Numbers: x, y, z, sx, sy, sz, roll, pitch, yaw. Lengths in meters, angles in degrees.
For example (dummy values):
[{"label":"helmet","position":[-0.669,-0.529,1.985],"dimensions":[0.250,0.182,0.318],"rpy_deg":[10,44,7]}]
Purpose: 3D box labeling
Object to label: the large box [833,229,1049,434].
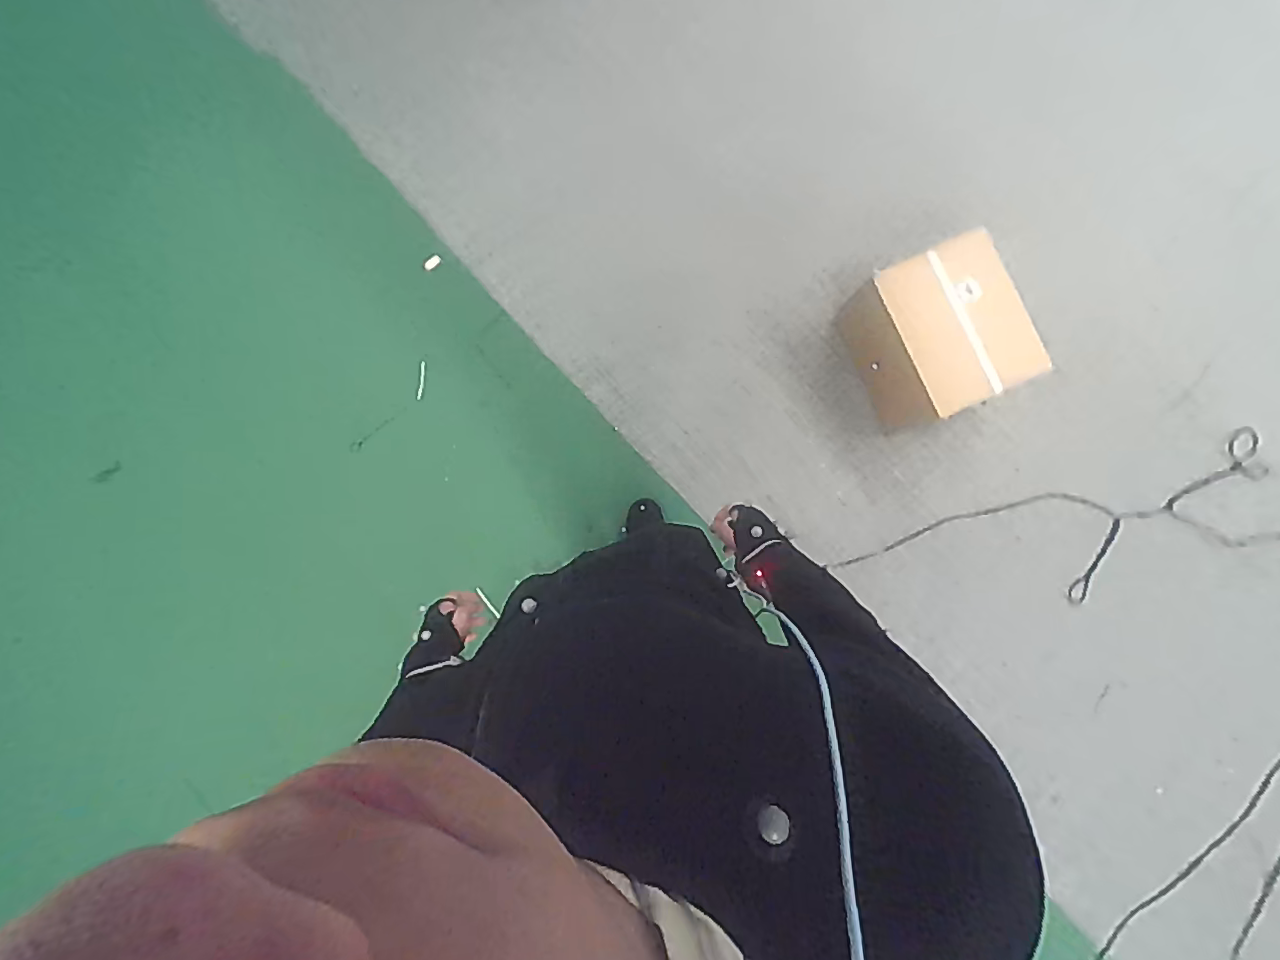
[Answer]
[{"label":"large box","position":[0.799,-0.385,1.497],"dimensions":[0.320,0.320,0.408],"rpy_deg":[-24,85,0]}]
